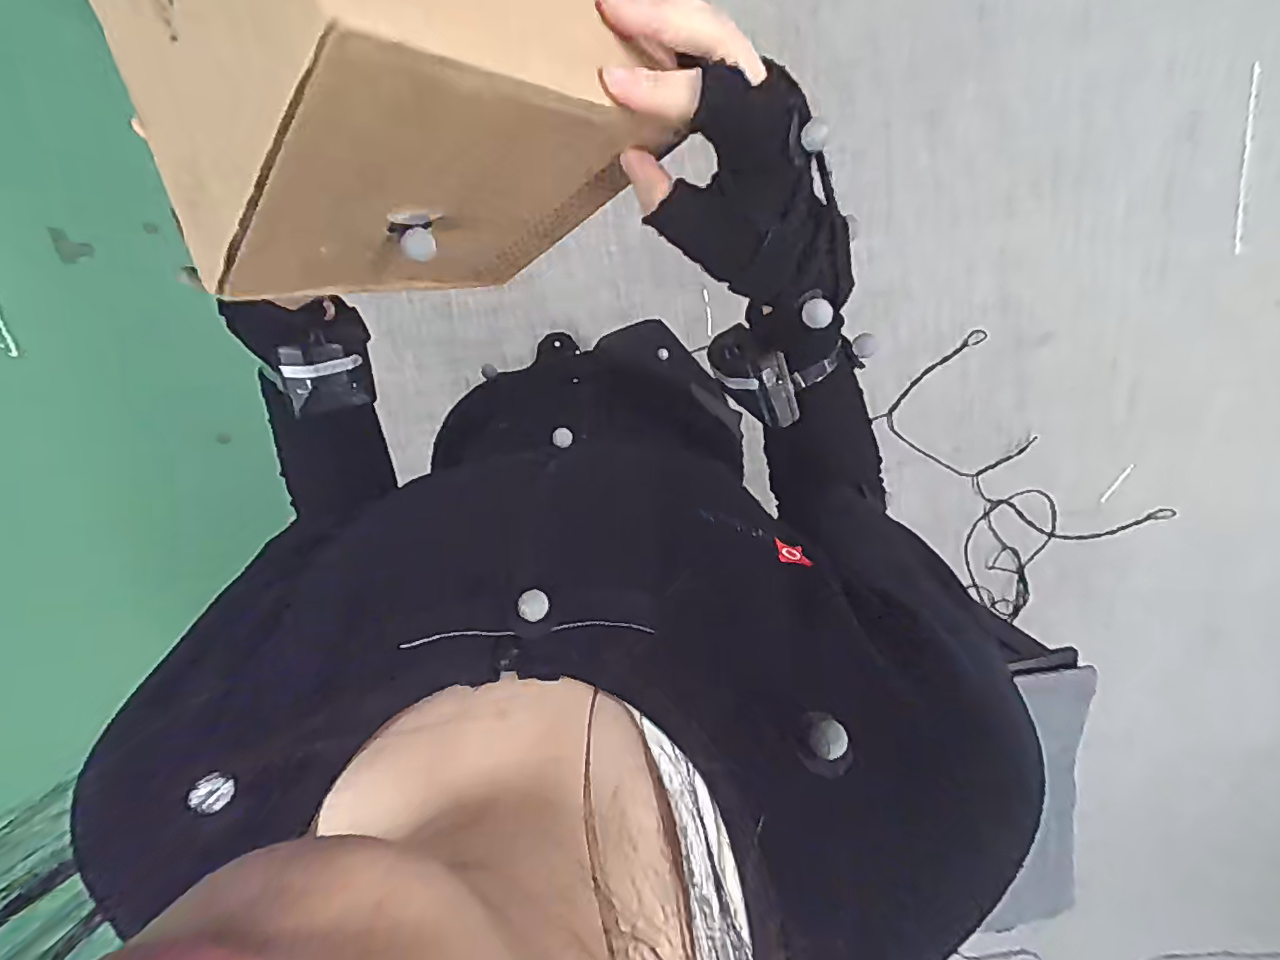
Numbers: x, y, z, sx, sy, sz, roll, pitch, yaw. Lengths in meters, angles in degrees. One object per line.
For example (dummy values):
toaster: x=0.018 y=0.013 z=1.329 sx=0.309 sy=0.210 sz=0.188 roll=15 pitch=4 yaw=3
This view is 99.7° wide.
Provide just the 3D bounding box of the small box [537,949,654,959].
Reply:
small box: x=-0.060 y=0.743 z=0.687 sx=0.179 sy=0.176 sz=0.168 roll=0 pitch=104 yaw=-5
